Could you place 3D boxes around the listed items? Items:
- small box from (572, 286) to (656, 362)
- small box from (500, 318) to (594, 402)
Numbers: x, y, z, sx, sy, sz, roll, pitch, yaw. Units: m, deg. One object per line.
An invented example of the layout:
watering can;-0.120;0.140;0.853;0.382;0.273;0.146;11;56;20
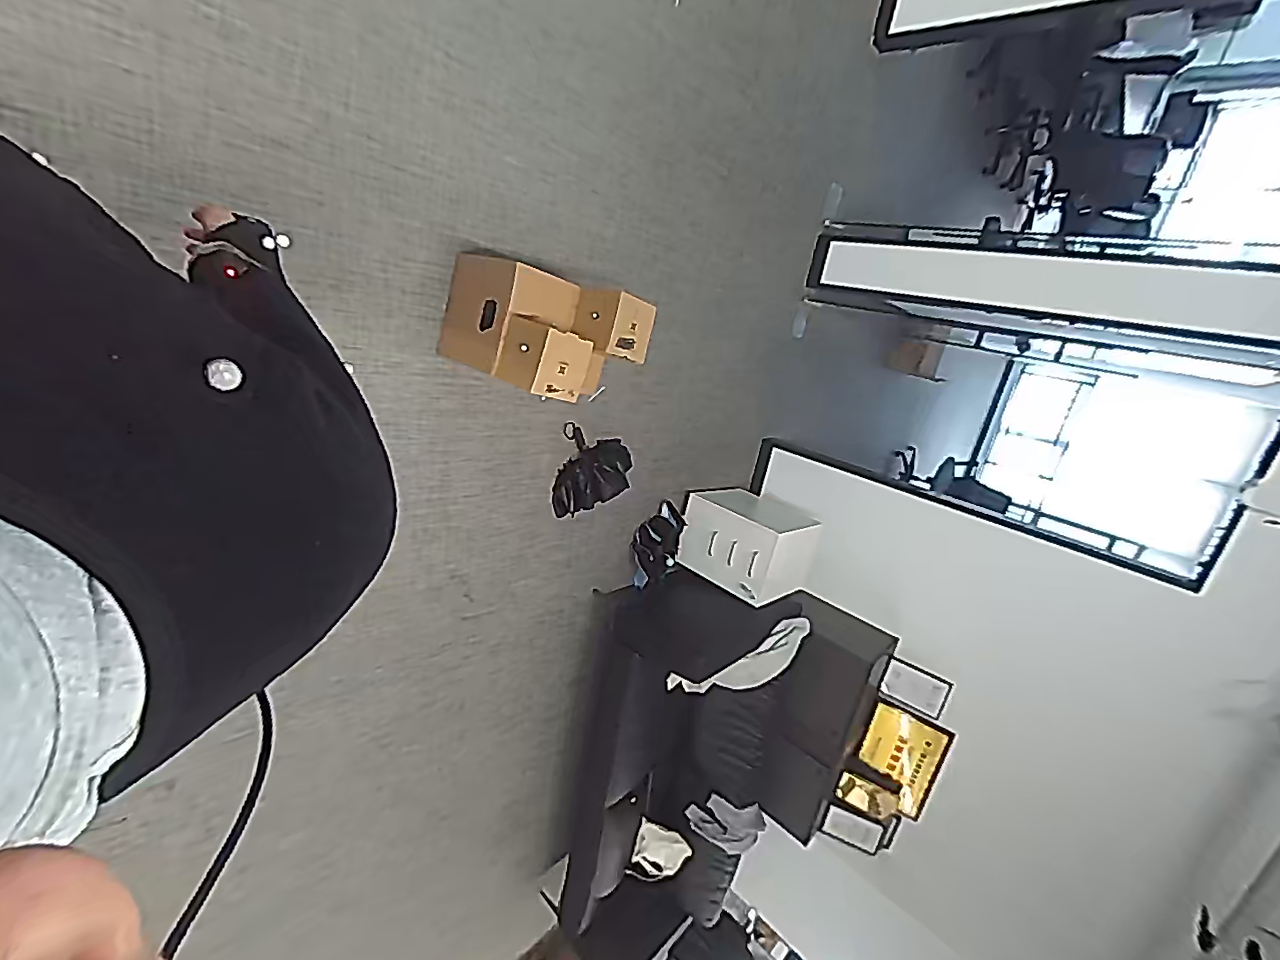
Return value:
small box;-0.084;-0.467;1.615;0.168;0.176;0.179;3;103;-51
small box;-0.258;-0.329;1.475;0.168;0.176;0.179;2;108;-52
